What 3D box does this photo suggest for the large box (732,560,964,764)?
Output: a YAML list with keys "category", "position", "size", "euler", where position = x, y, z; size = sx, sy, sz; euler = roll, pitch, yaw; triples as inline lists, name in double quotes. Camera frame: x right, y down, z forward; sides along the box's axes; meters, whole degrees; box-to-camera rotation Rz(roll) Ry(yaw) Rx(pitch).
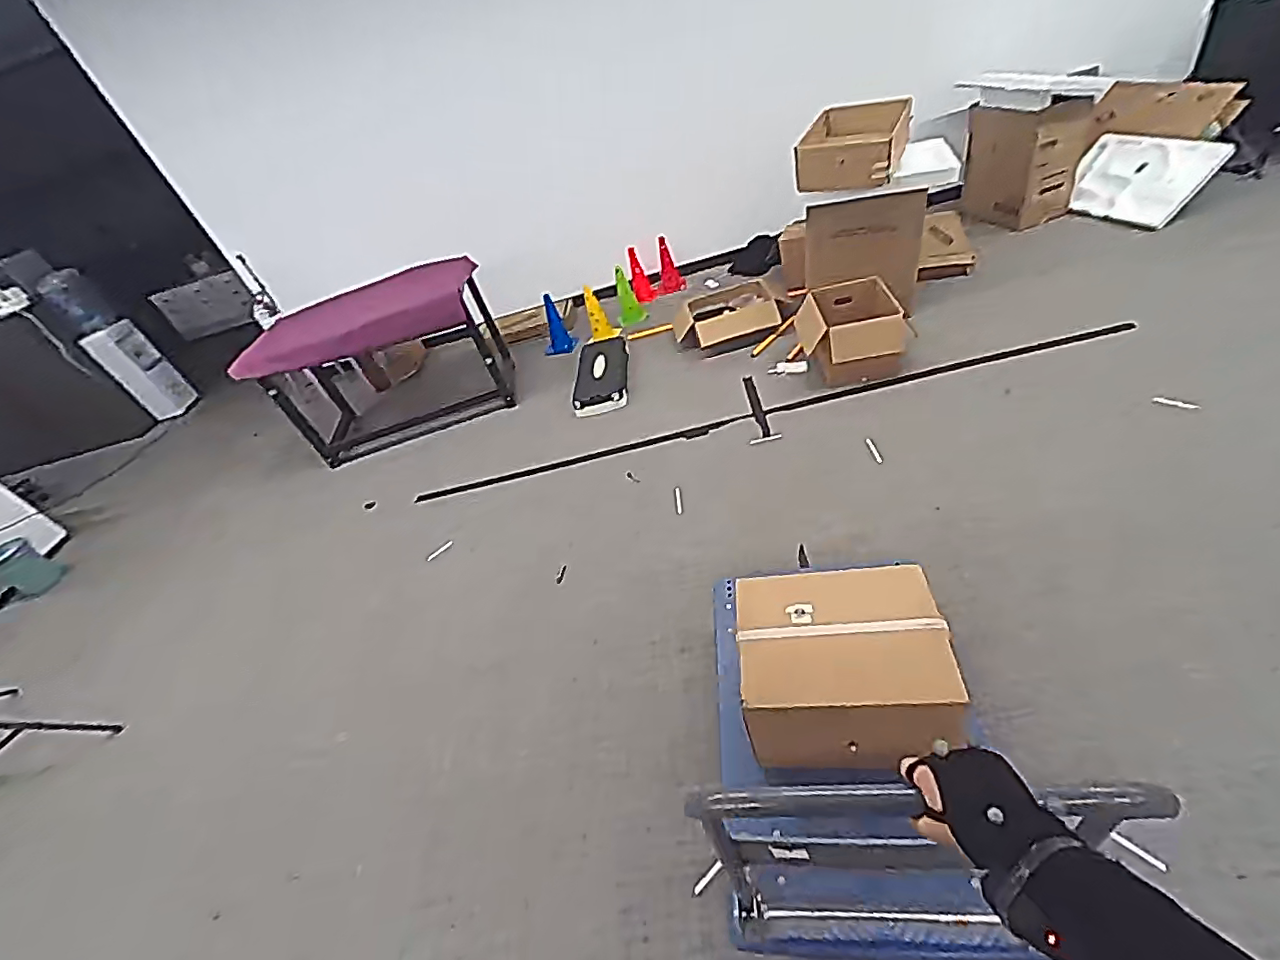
- category: "large box"
  position: [0.437, 0.413, 1.203]
  size: [0.408, 0.320, 0.320]
  euler: [-9, 40, 14]
